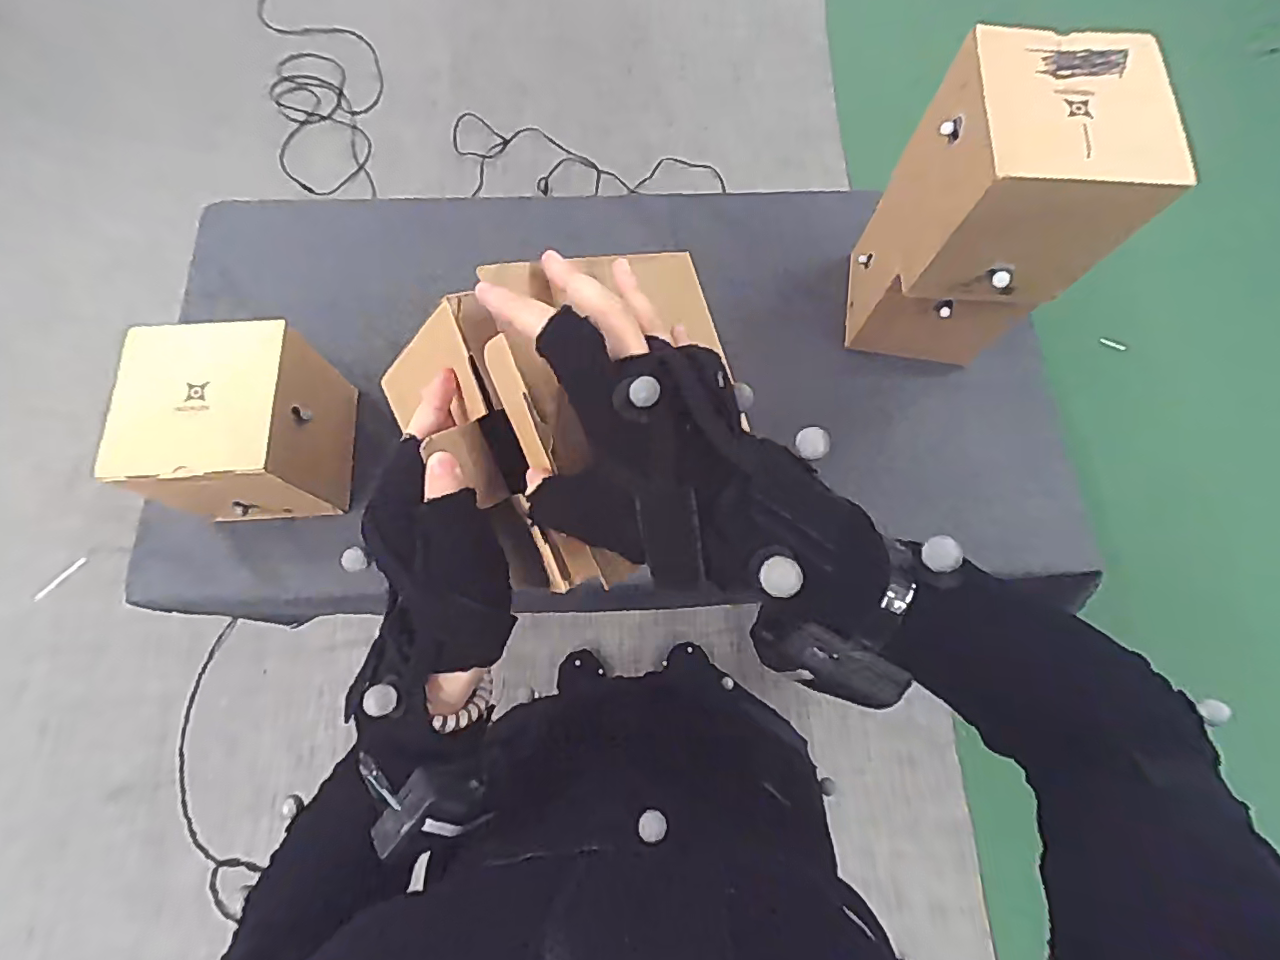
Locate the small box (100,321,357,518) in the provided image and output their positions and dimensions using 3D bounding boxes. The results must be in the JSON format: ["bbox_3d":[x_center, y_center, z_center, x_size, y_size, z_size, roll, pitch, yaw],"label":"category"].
[{"bbox_3d":[-0.455,-0.063,0.634,0.168,0.176,0.179,-3,73,-2],"label":"small box"}]

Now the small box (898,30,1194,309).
[{"bbox_3d":[0.380,-0.301,0.547,0.168,0.176,0.179,4,74,1],"label":"small box"}]

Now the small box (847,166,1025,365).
[{"bbox_3d":[0.388,-0.270,0.709,0.179,0.176,0.168,10,73,2],"label":"small box"}]
